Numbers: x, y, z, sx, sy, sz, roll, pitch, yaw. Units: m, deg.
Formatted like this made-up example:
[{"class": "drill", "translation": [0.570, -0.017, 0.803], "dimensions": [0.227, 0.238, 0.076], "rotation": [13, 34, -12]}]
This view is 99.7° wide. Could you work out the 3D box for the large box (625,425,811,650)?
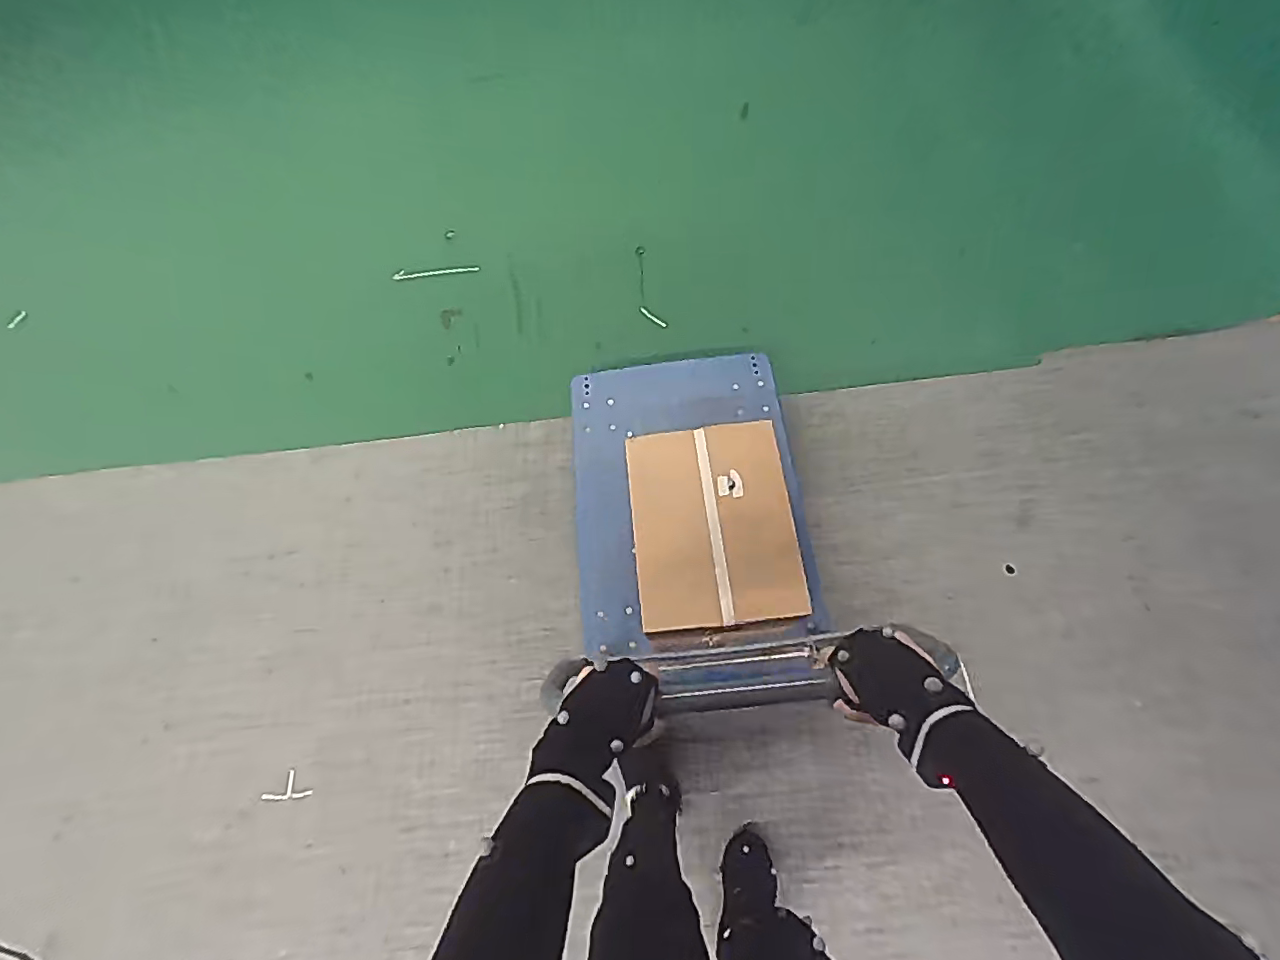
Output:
[{"class": "large box", "translation": [0.155, 0.141, 1.204], "dimensions": [0.320, 0.320, 0.408], "rotation": [-7, 67, 1]}]
